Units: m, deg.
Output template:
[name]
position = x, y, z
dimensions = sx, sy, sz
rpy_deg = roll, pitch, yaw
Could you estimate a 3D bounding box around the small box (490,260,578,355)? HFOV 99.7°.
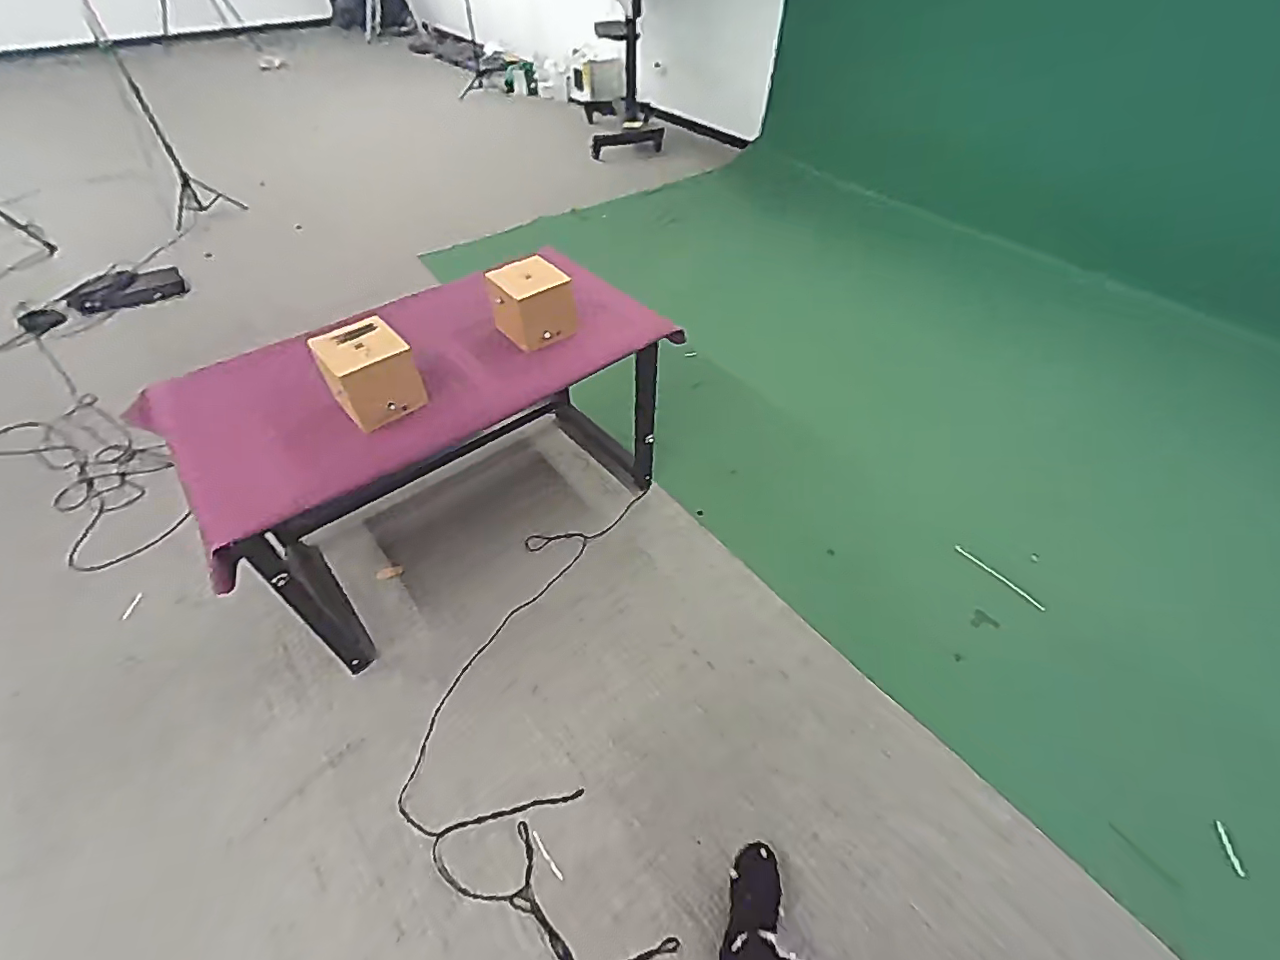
[small box]
position = -0.287, -0.472, 1.484
dimensions = 0.168, 0.176, 0.179
rpy_deg = -31, 54, -23
